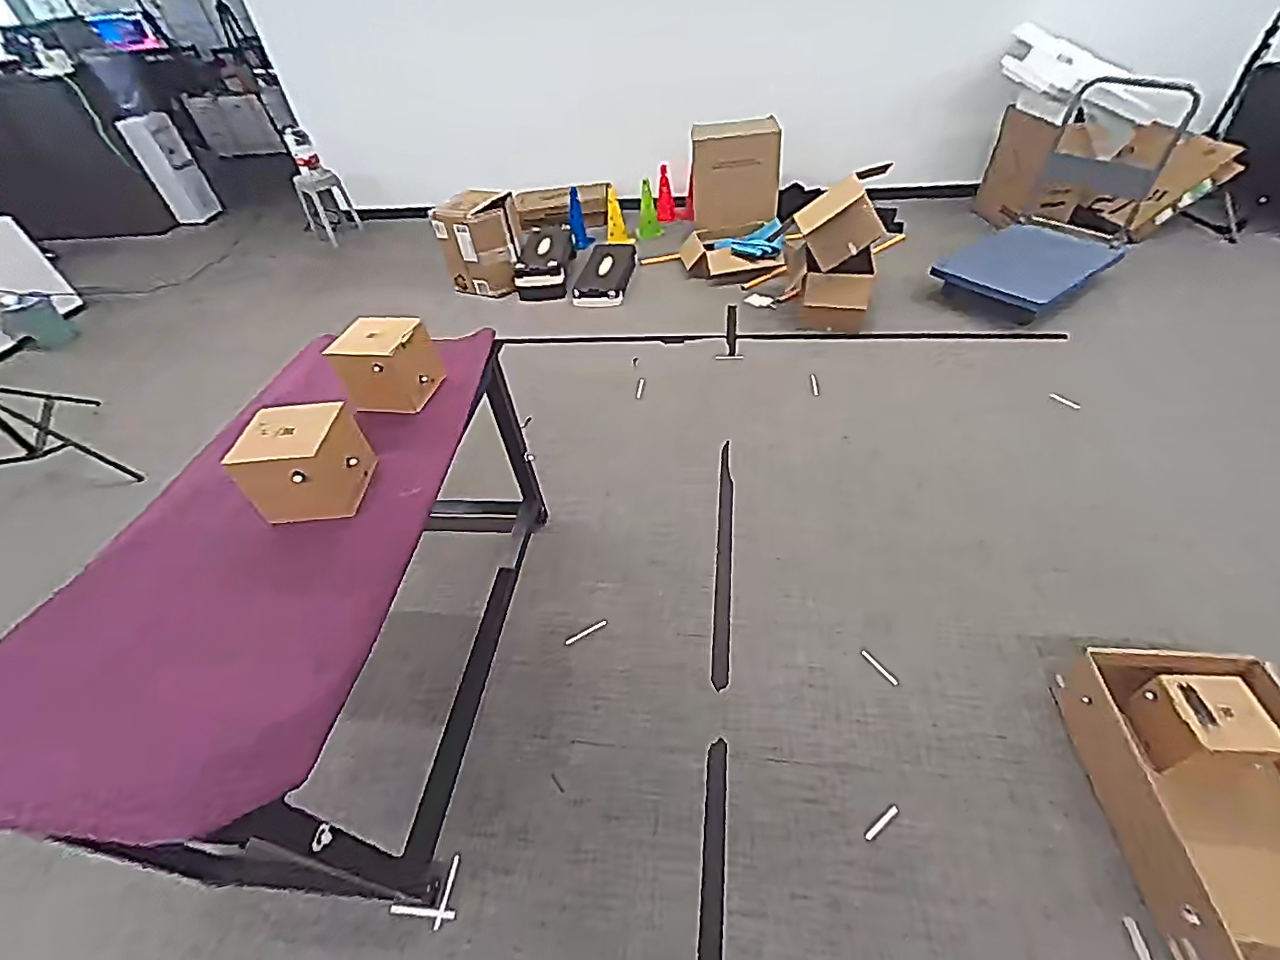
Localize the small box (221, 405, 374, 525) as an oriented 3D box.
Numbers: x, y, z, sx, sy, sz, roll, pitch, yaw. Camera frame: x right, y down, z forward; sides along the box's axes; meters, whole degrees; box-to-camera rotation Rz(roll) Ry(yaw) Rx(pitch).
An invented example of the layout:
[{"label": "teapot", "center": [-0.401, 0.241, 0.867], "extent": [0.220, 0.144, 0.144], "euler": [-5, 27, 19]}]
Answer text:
[{"label": "small box", "center": [-0.668, -0.028, 1.084], "extent": [0.179, 0.176, 0.168], "euler": [-6, 45, 2]}]

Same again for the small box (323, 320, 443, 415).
[{"label": "small box", "center": [-0.618, -0.273, 1.322], "extent": [0.179, 0.176, 0.168], "euler": [3, 46, 11]}]
